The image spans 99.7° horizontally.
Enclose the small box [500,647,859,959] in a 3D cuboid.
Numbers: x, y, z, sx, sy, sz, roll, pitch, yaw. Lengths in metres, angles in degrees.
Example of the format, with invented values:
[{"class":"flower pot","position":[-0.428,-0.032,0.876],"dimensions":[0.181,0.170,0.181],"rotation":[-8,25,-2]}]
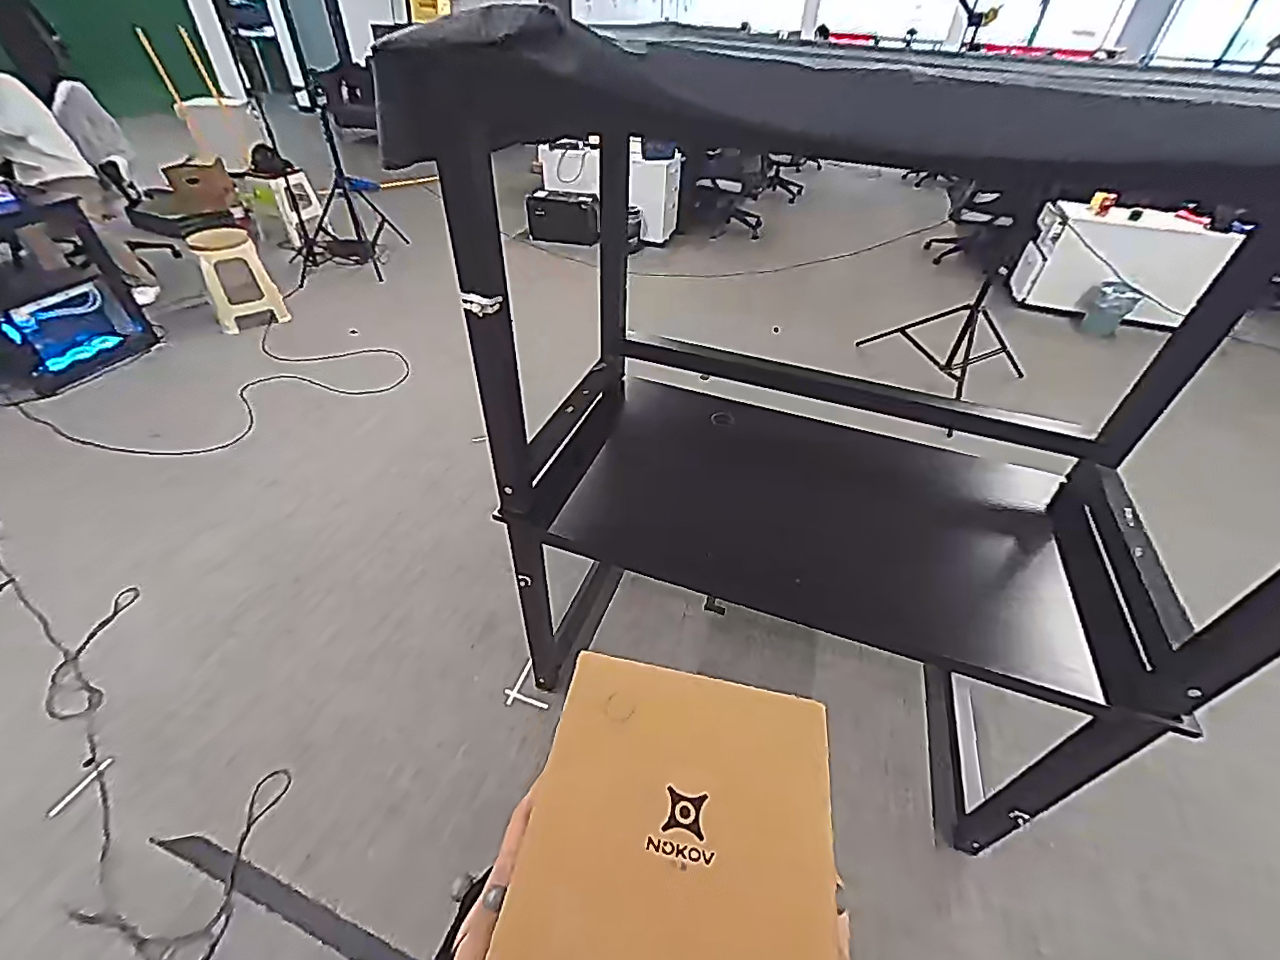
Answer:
[{"class":"small box","position":[0.023,0.241,0.345],"dimensions":[0.168,0.176,0.179],"rotation":[10,43,5]}]
